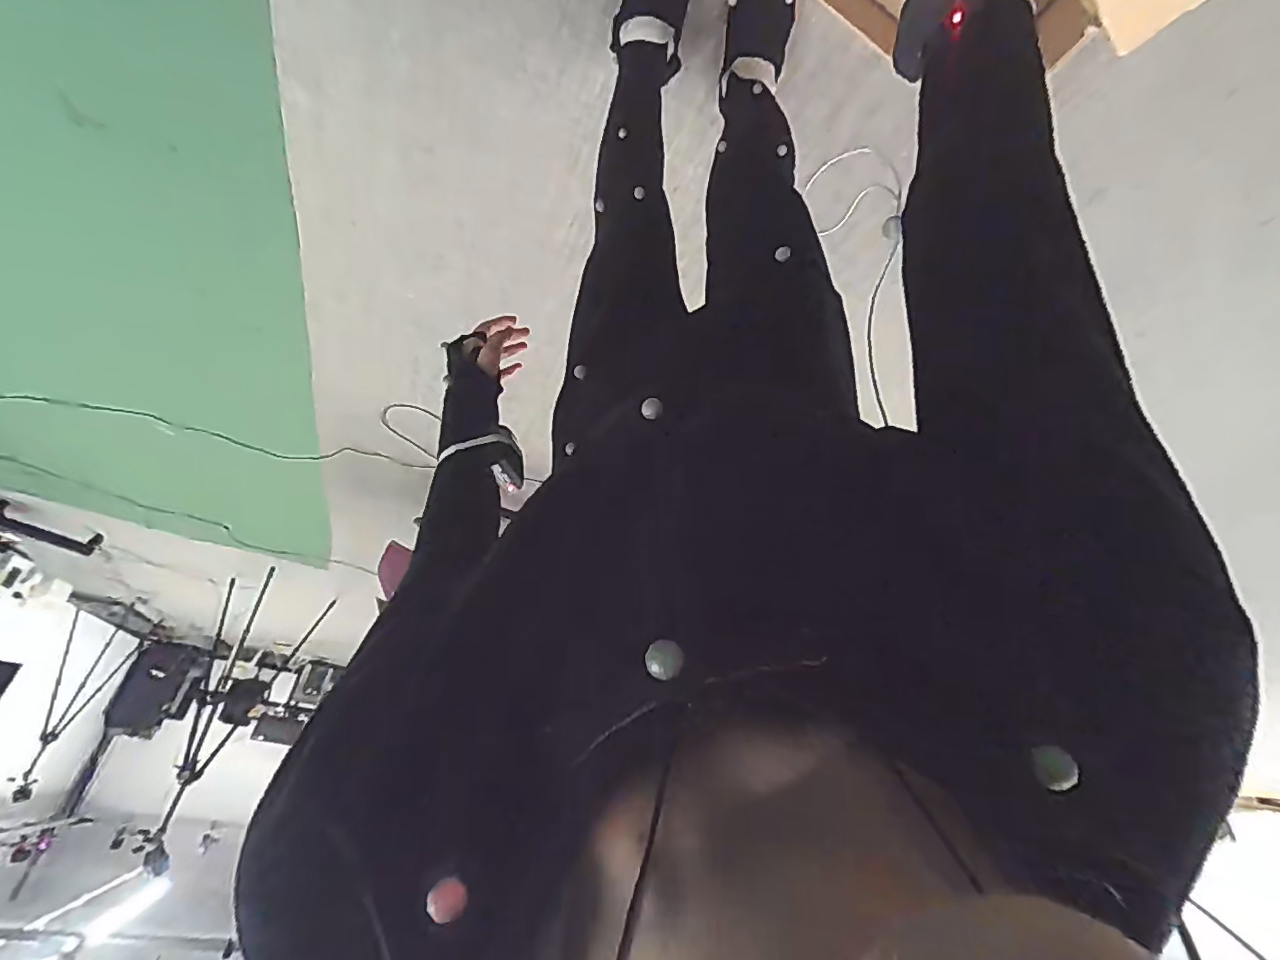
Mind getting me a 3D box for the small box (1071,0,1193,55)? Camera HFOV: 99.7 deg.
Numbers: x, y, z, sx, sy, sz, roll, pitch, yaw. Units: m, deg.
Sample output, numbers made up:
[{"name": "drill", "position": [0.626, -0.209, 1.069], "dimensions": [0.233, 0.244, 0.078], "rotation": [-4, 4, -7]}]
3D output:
[{"name": "small box", "position": [0.538, -0.617, 0.566], "dimensions": [0.179, 0.176, 0.168], "rotation": [28, 146, -29]}]
